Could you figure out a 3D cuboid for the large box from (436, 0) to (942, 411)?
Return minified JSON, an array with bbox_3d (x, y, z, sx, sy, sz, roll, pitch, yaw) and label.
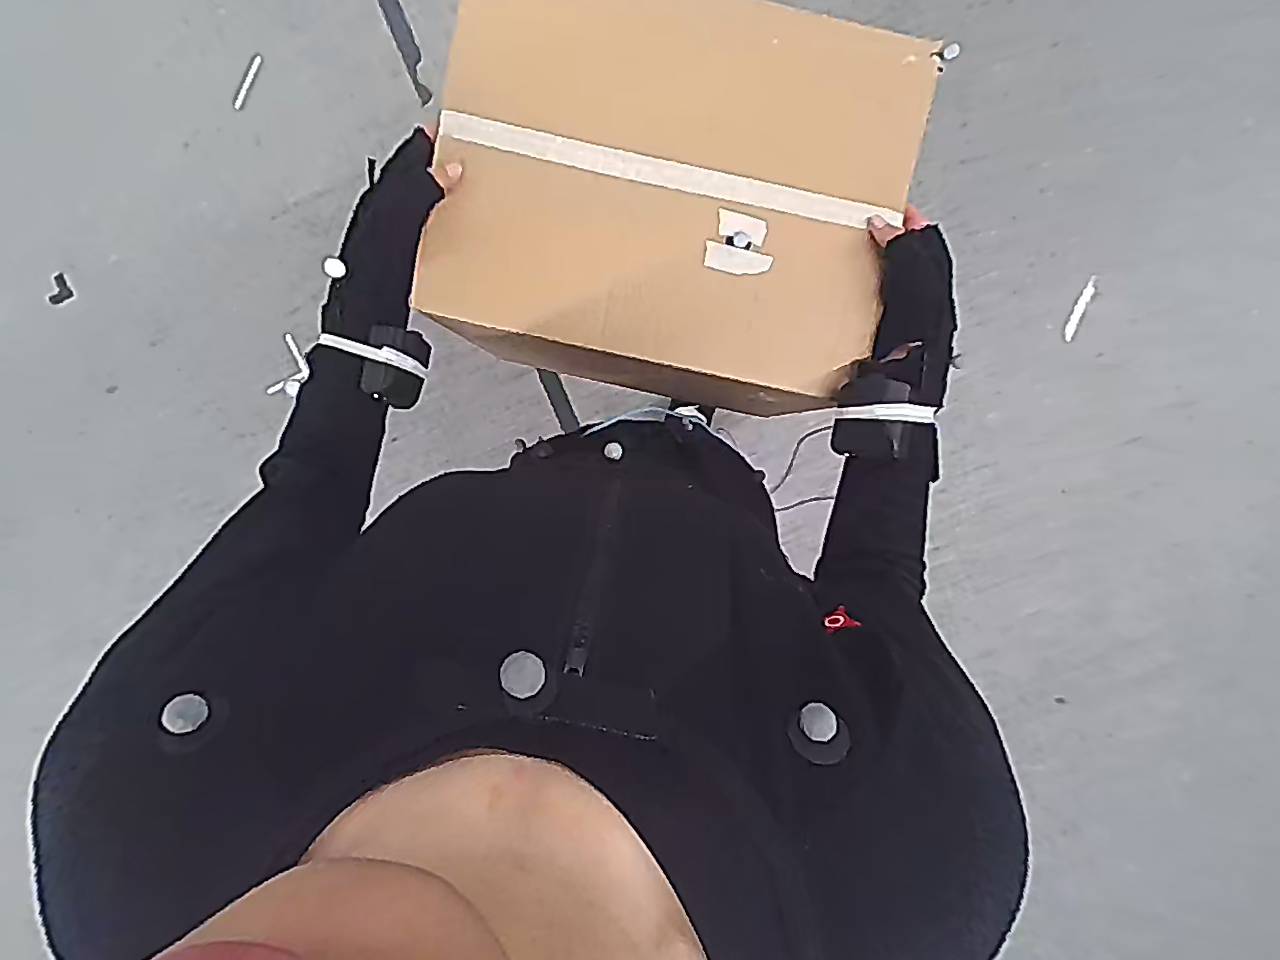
[{"bbox_3d":[0.036,-0.277,0.624,0.408,0.320,0.320,13,95,-3],"label":"large box"}]
